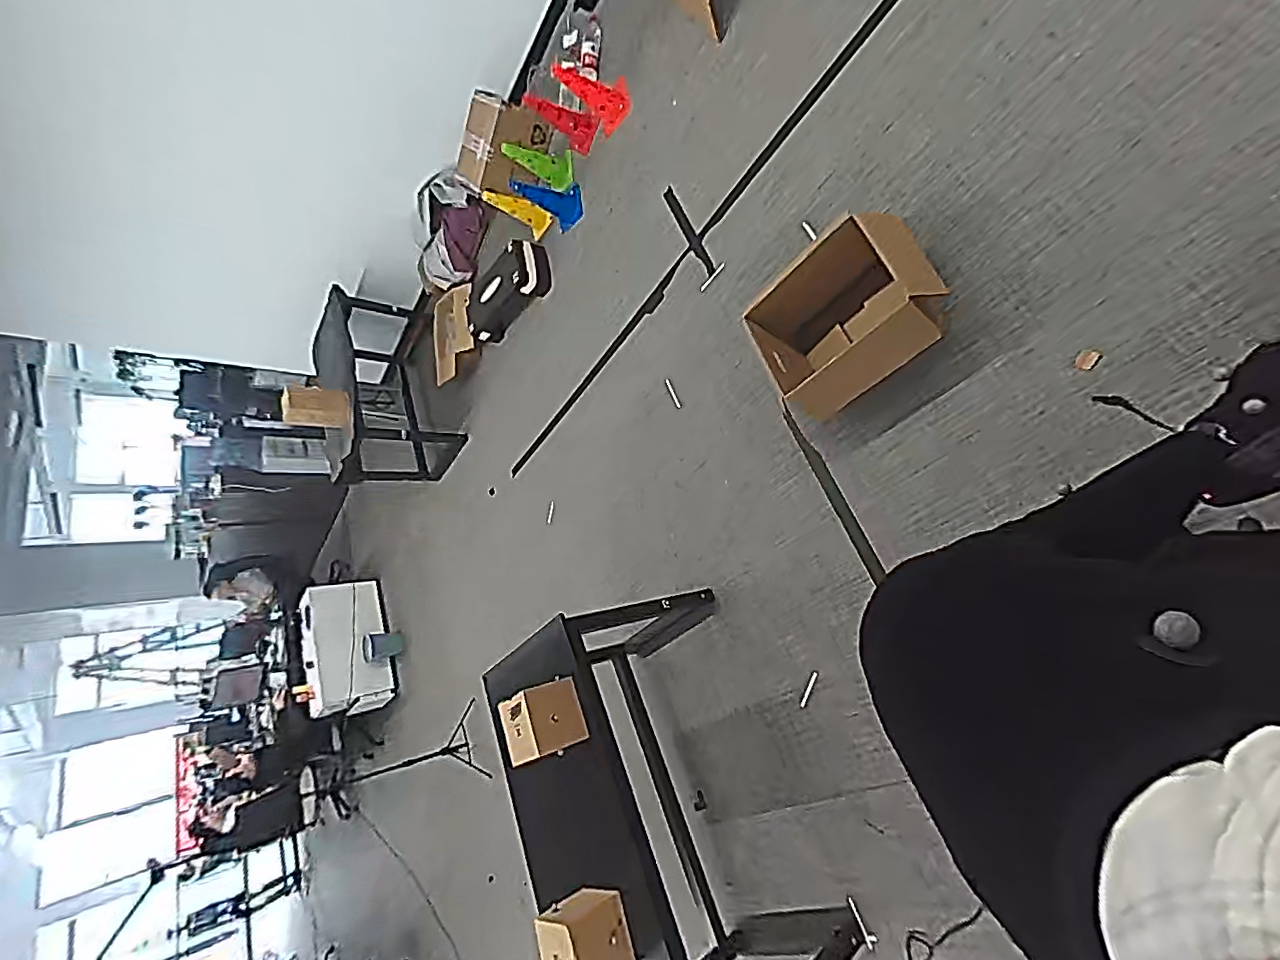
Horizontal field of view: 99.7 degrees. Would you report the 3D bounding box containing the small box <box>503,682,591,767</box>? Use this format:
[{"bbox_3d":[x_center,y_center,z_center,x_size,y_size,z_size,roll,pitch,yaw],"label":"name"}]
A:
[{"bbox_3d":[-0.267,0.696,1.554,0.168,0.176,0.179,-41,62,40],"label":"small box"}]

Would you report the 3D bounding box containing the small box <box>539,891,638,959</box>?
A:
[{"bbox_3d":[-0.133,1.198,1.397,0.179,0.176,0.168,-36,64,41],"label":"small box"}]
